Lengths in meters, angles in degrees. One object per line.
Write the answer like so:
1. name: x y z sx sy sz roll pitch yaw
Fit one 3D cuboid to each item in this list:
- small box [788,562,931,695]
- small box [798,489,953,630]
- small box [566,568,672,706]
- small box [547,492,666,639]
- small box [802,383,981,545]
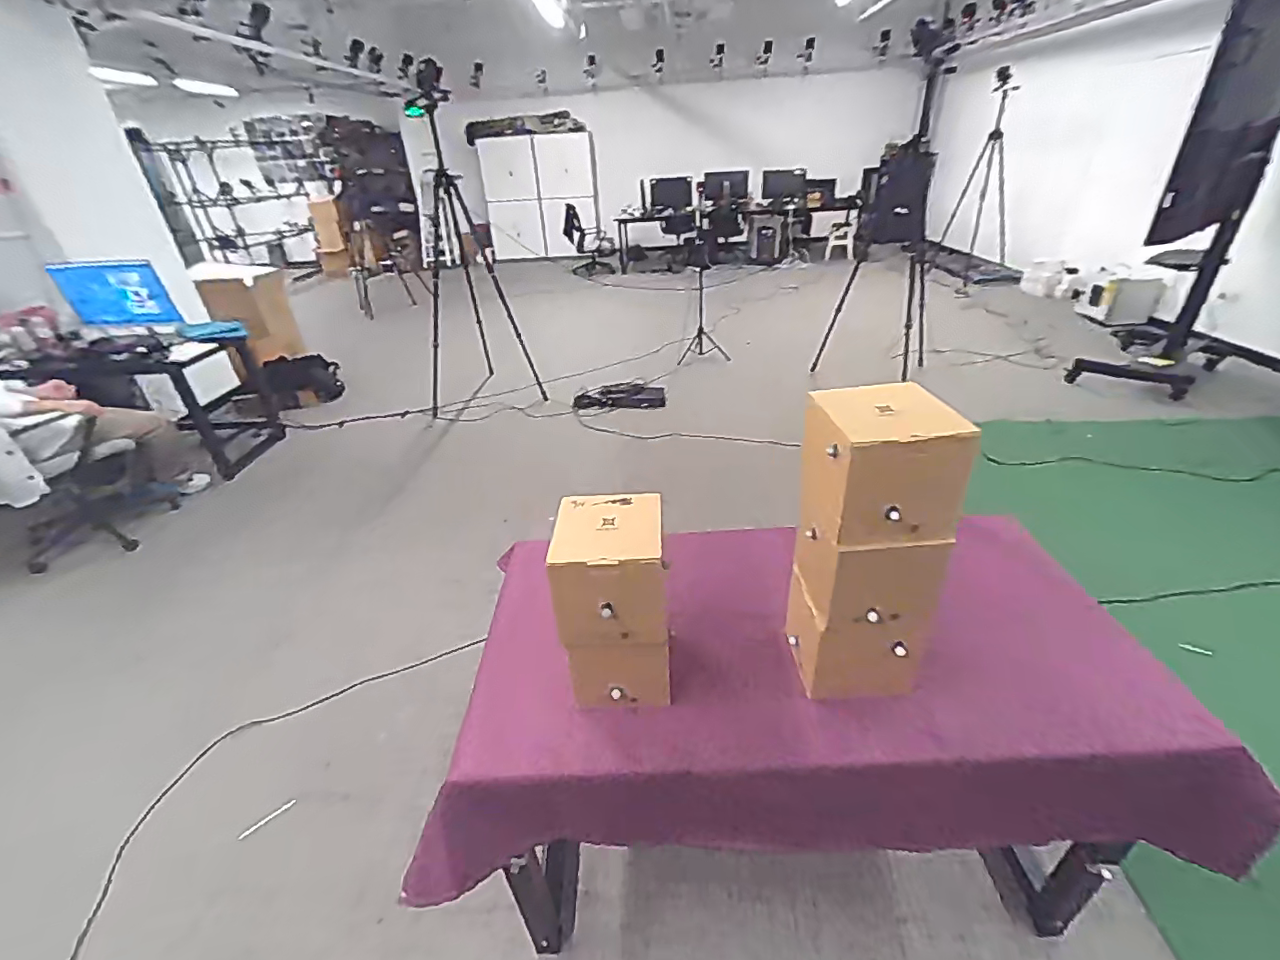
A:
1. small box: 0.368 0.255 0.945 0.179 0.176 0.168 -3 31 1
2. small box: 0.358 0.115 0.862 0.168 0.176 0.179 -4 32 1
3. small box: -0.030 0.274 0.961 0.168 0.176 0.179 -2 32 3
4. small box: -0.043 0.139 0.869 0.168 0.176 0.179 -2 32 3
5. small box: 0.344 -0.026 0.783 0.168 0.176 0.179 -5 32 -1
